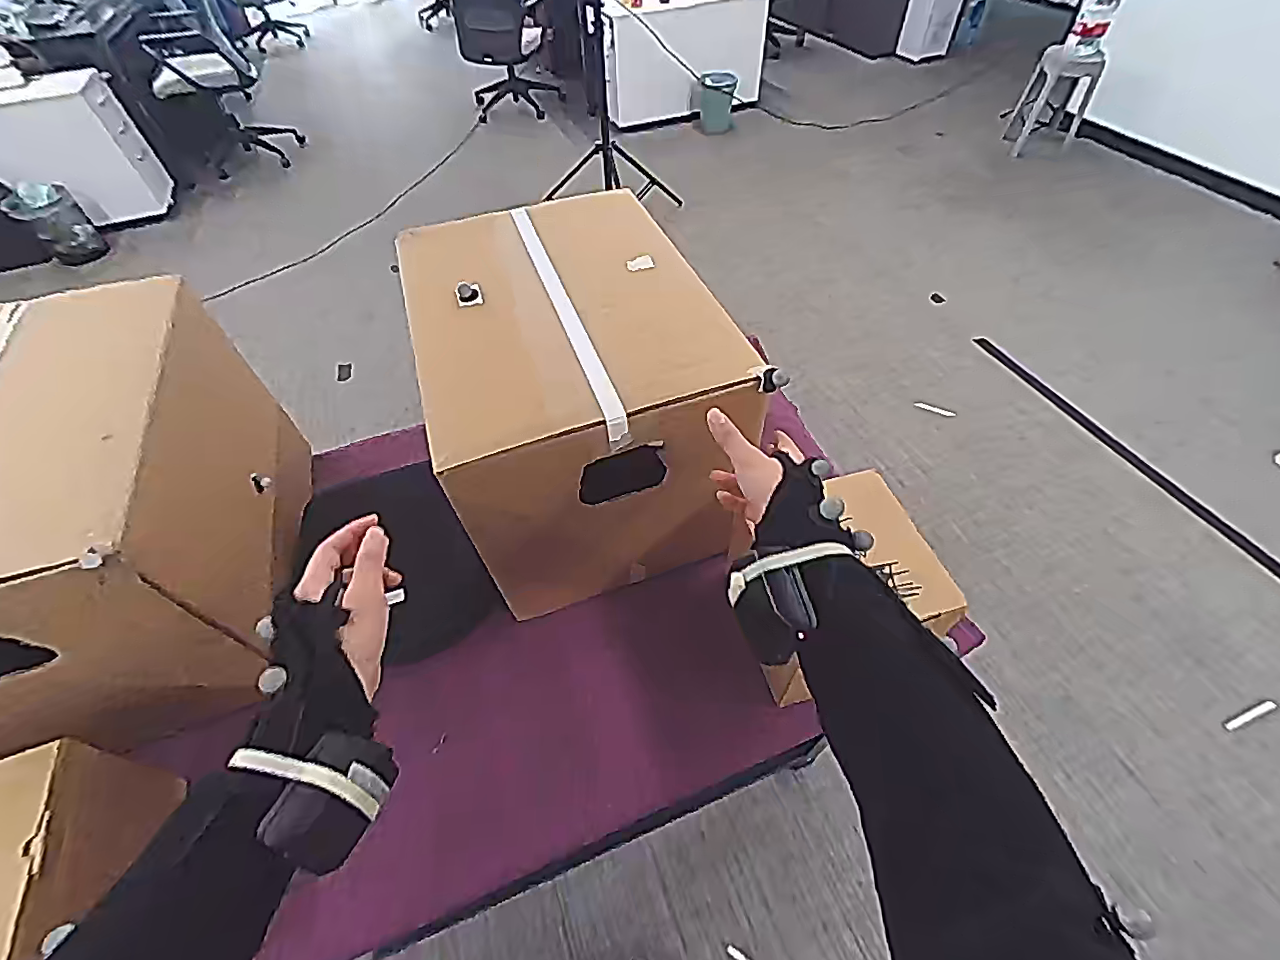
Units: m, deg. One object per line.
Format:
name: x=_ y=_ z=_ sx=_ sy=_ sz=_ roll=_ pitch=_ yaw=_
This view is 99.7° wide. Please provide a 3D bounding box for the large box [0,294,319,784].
large box: x=-0.604 y=0.058 z=0.617 sx=0.320 sy=0.320 sz=0.408 roll=-19 pitch=56 yaw=-12
